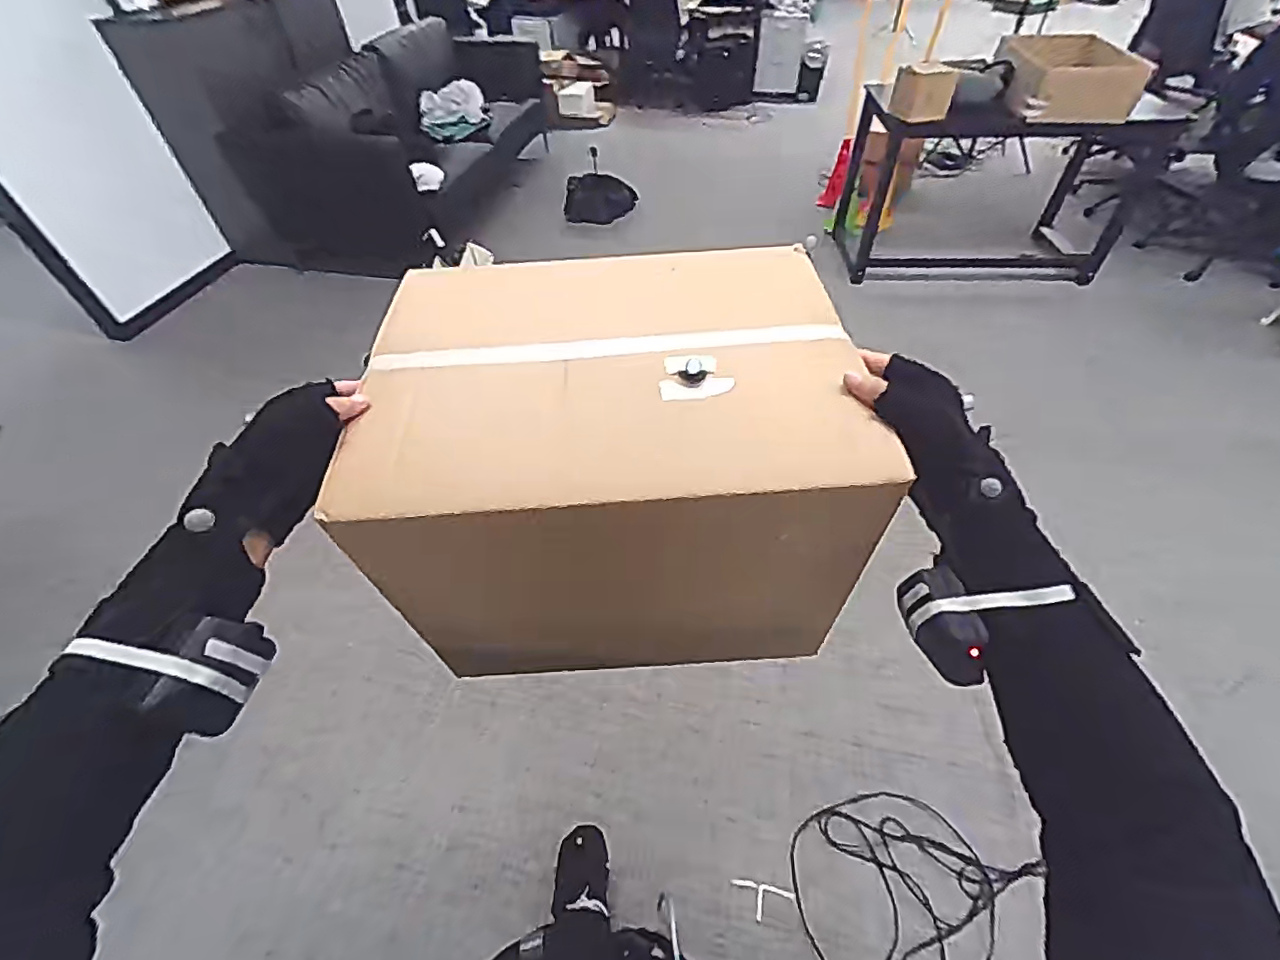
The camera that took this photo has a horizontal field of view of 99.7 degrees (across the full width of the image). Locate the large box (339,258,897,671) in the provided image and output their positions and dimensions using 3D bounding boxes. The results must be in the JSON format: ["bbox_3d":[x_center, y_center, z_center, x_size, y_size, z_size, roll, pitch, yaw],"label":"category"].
[{"bbox_3d":[-0.019,-0.009,0.586,0.408,0.320,0.320,-3,52,0],"label":"large box"}]
